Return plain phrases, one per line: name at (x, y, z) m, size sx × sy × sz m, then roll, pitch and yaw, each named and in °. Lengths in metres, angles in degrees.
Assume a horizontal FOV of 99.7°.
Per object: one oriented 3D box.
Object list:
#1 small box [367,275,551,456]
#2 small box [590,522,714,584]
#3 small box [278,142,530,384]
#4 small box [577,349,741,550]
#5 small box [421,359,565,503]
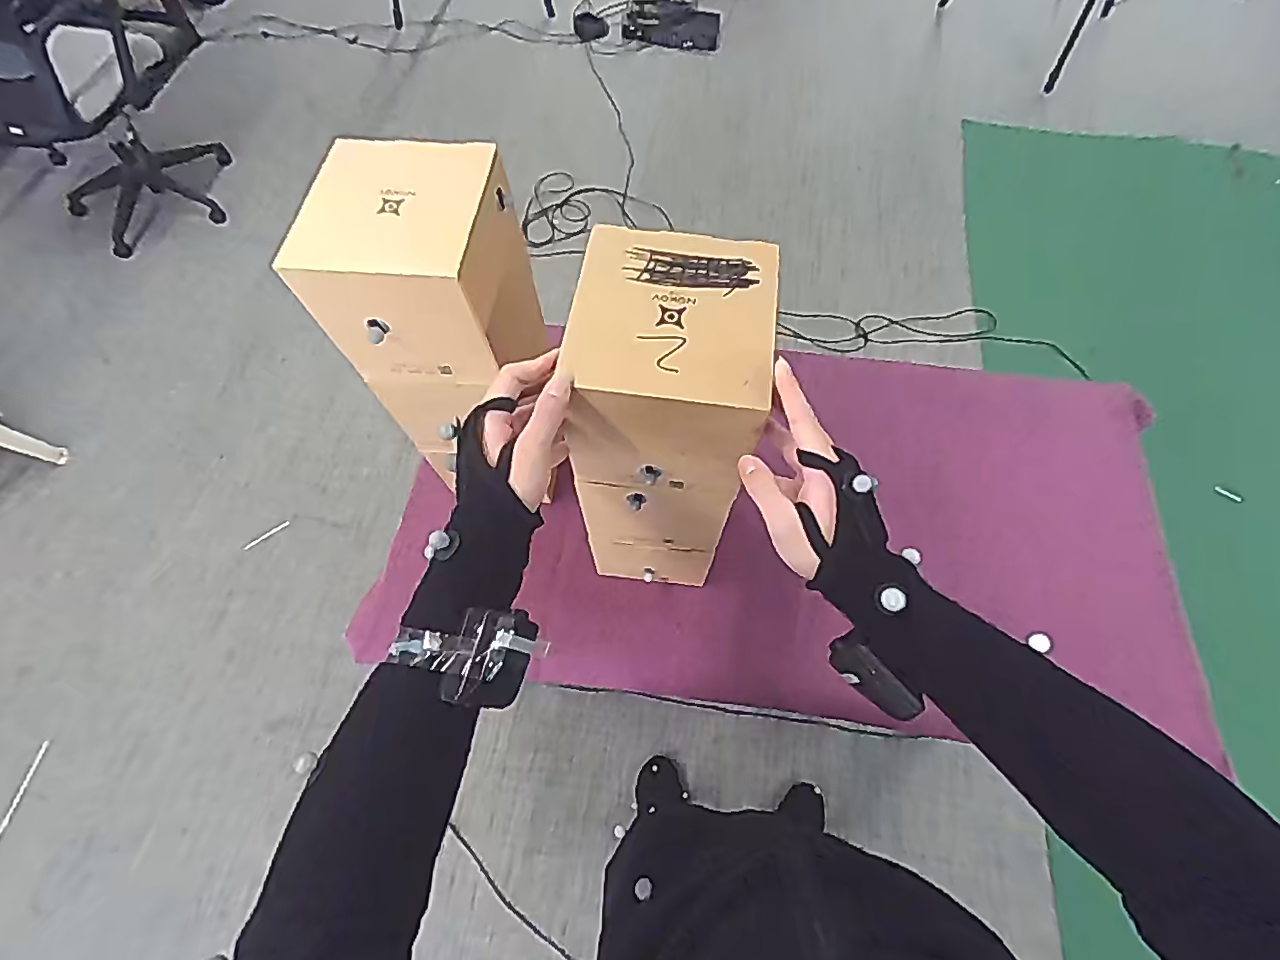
small box at (-0.220, -0.151, 0.716) m, size 0.168 × 0.176 × 0.179 m, roll 5°, pitch 66°, yaw 4°
small box at (0.026, 0.041, 0.804) m, size 0.168 × 0.176 × 0.179 m, roll 6°, pitch 66°, yaw 4°
small box at (-0.223, -0.219, 0.569) m, size 0.168 × 0.176 × 0.179 m, roll 4°, pitch 65°, yaw 4°
small box at (0.025, -0.031, 0.657) m, size 0.168 × 0.176 × 0.179 m, roll 5°, pitch 64°, yaw 4°
small box at (-0.219, -0.081, 0.864) m, size 0.168 × 0.176 × 0.179 m, roll 5°, pitch 66°, yaw 3°
